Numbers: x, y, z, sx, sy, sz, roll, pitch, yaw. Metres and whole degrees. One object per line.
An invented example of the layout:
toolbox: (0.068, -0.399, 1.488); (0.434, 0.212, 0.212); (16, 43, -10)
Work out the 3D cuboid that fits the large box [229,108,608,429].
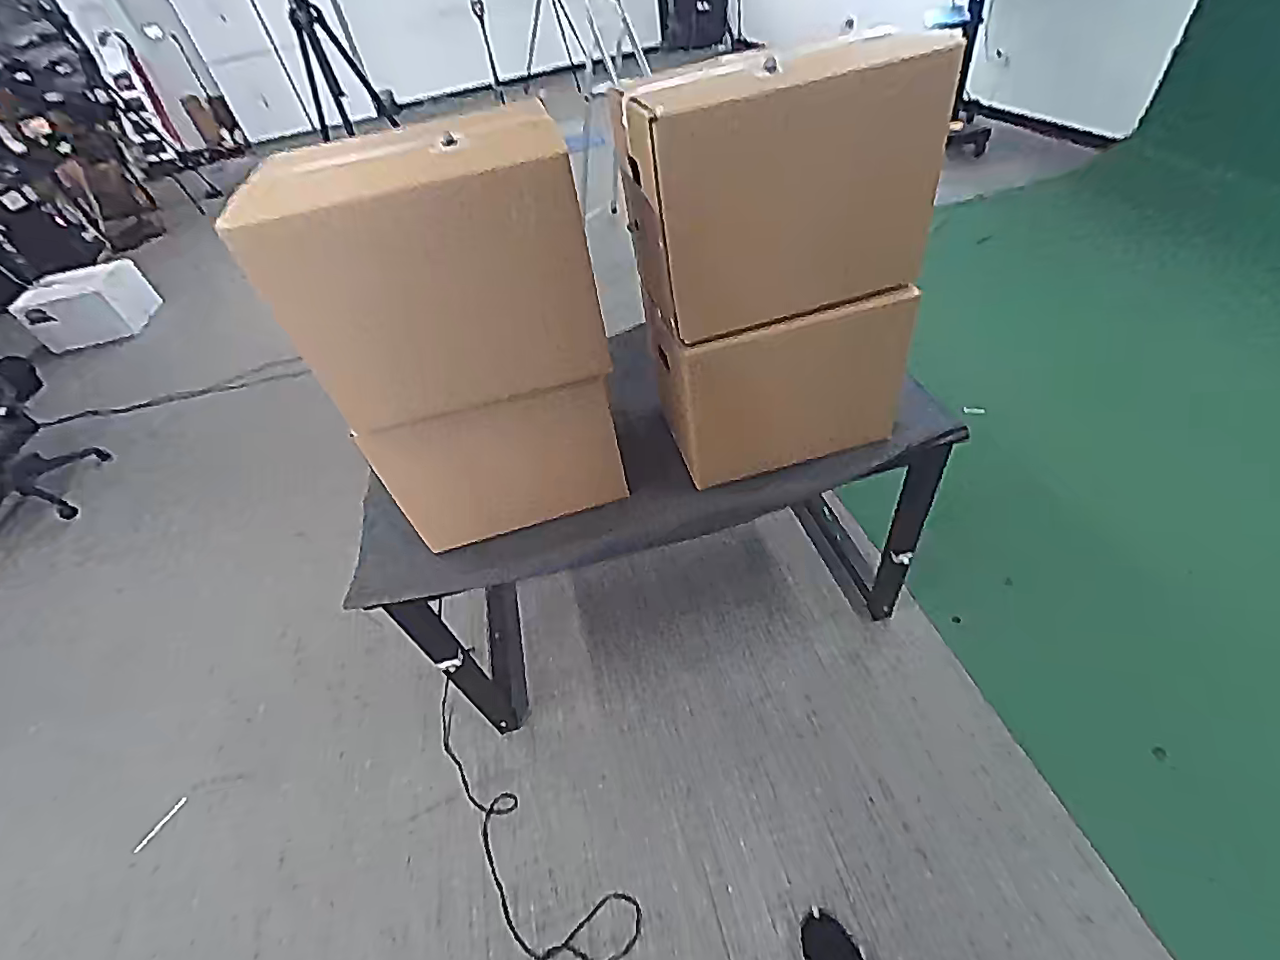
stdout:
large box: (-0.290, -0.325, 0.826); (0.408, 0.320, 0.320); (-14, 47, -5)
